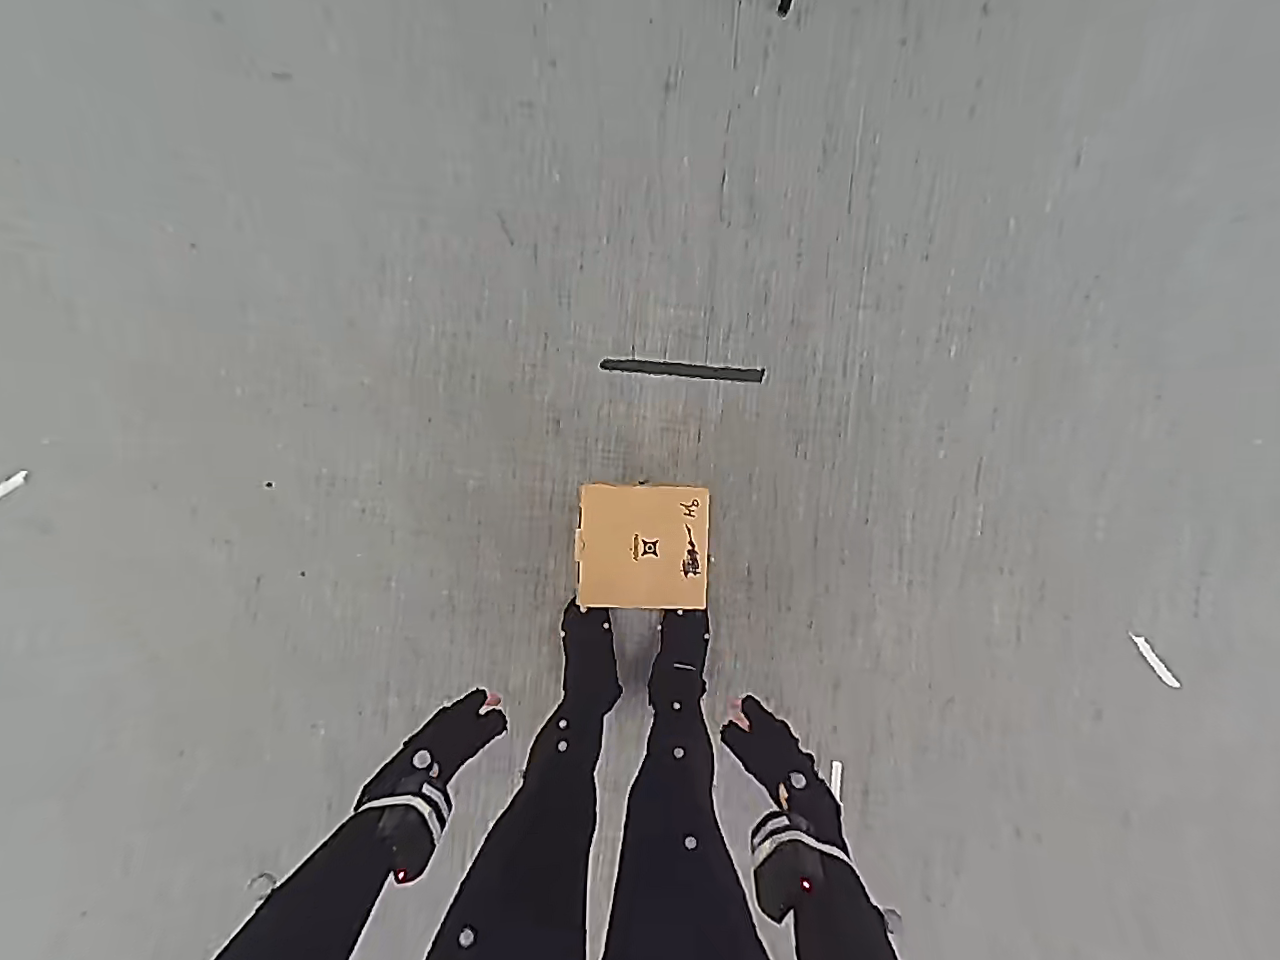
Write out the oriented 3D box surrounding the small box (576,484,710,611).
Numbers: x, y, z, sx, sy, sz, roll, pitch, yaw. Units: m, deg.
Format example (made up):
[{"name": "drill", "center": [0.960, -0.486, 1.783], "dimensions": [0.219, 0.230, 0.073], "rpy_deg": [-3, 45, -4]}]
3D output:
[{"name": "small box", "center": [0.004, 0.092, 0.802], "dimensions": [0.179, 0.176, 0.168], "rpy_deg": [2, 90, -1]}]
